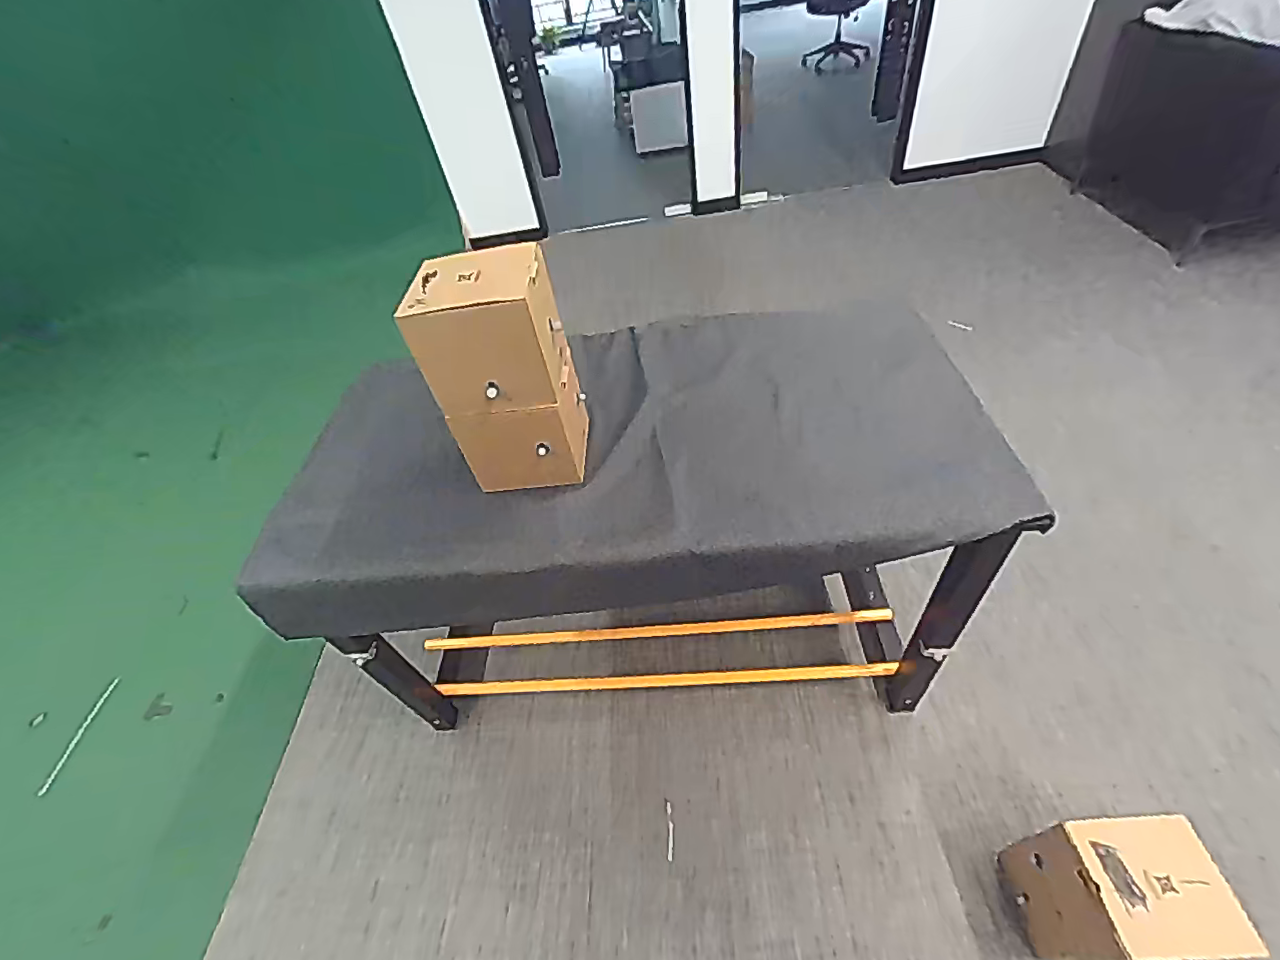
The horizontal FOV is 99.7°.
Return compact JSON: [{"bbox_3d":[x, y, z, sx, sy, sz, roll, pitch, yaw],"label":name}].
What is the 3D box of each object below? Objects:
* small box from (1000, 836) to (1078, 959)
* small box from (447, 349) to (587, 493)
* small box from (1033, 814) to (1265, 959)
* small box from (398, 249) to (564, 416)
[{"bbox_3d":[0.778,0.734,0.943,0.179,0.176,0.168,-5,46,6],"label":"small box"},{"bbox_3d":[-0.191,-0.096,0.907,0.179,0.176,0.168,-6,45,6],"label":"small box"},{"bbox_3d":[0.742,0.626,0.823,0.179,0.176,0.168,-6,46,4],"label":"small box"},{"bbox_3d":[-0.216,-0.214,0.795,0.179,0.176,0.168,-6,45,4],"label":"small box"}]
